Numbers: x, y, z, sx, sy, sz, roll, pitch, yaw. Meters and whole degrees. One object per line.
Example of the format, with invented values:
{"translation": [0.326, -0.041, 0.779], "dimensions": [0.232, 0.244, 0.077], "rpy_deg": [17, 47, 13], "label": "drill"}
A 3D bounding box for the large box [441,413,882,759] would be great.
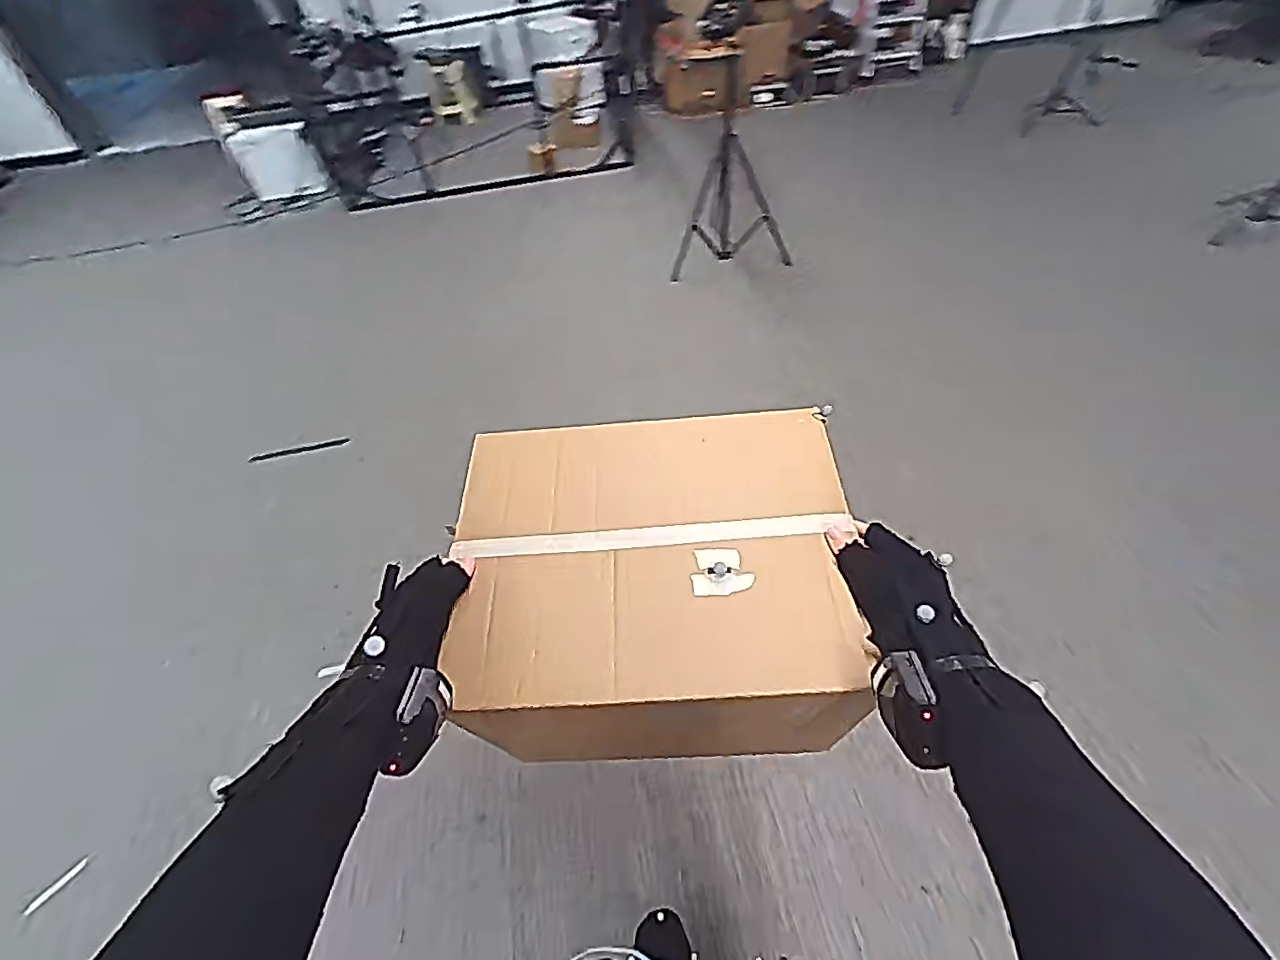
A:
{"translation": [0.018, 0.146, 0.683], "dimensions": [0.408, 0.320, 0.320], "rpy_deg": [-4, 55, 2], "label": "large box"}
